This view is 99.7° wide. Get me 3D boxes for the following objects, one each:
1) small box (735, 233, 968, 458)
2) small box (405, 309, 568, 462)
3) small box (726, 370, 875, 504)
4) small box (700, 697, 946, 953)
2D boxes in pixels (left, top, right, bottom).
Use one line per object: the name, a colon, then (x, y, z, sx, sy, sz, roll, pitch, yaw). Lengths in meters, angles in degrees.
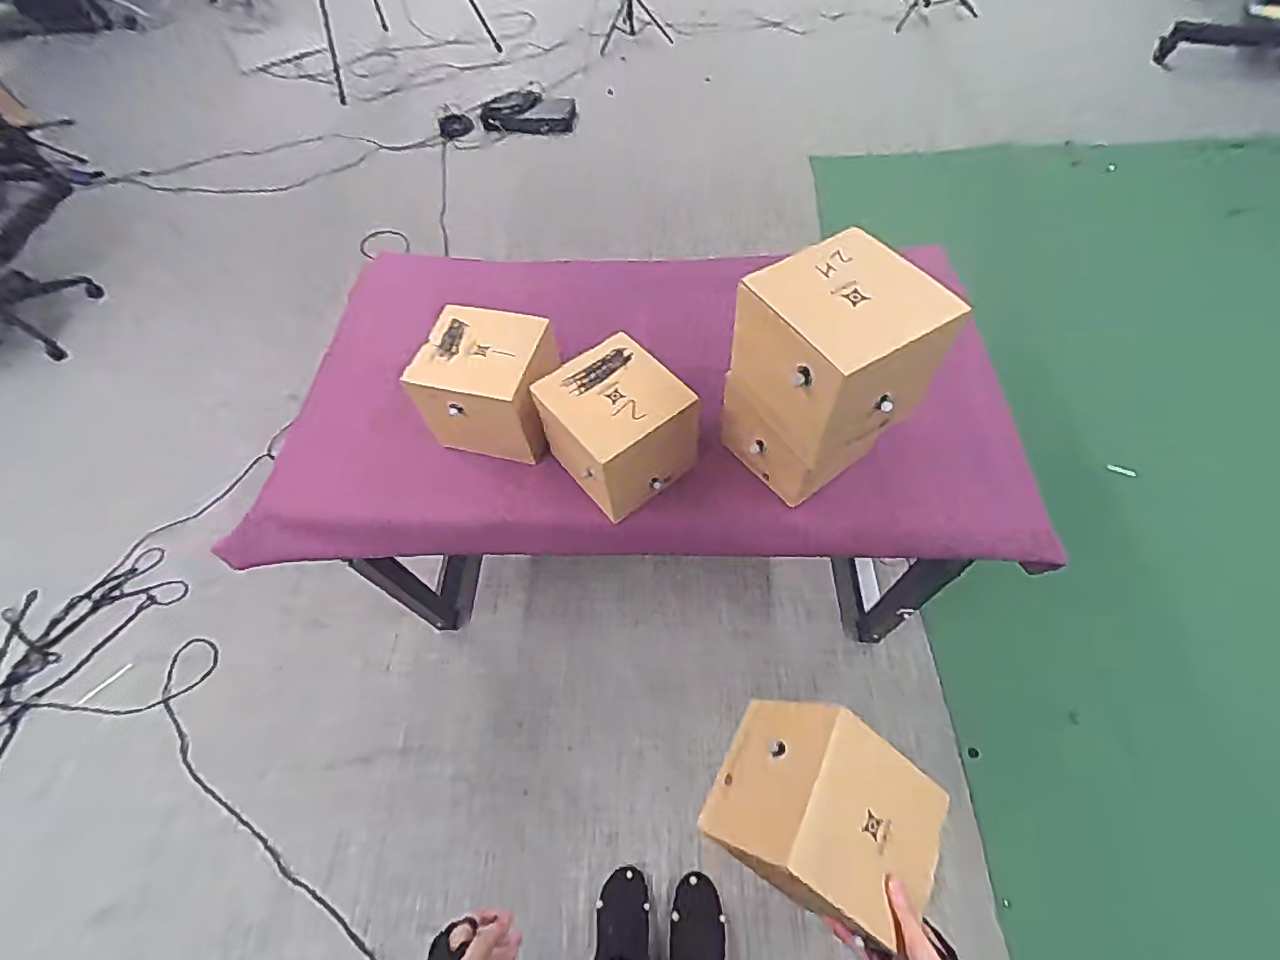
small box: (0.231, -0.149, 0.642, 0.168, 0.176, 0.179, -27, 59, -12)
small box: (-0.232, -0.147, 0.870, 0.179, 0.176, 0.168, 11, 60, 10)
small box: (0.244, -0.096, 0.803, 0.179, 0.176, 0.168, -34, 62, -15)
small box: (0.198, 0.366, 0.608, 0.179, 0.176, 0.168, 41, 59, -10)
